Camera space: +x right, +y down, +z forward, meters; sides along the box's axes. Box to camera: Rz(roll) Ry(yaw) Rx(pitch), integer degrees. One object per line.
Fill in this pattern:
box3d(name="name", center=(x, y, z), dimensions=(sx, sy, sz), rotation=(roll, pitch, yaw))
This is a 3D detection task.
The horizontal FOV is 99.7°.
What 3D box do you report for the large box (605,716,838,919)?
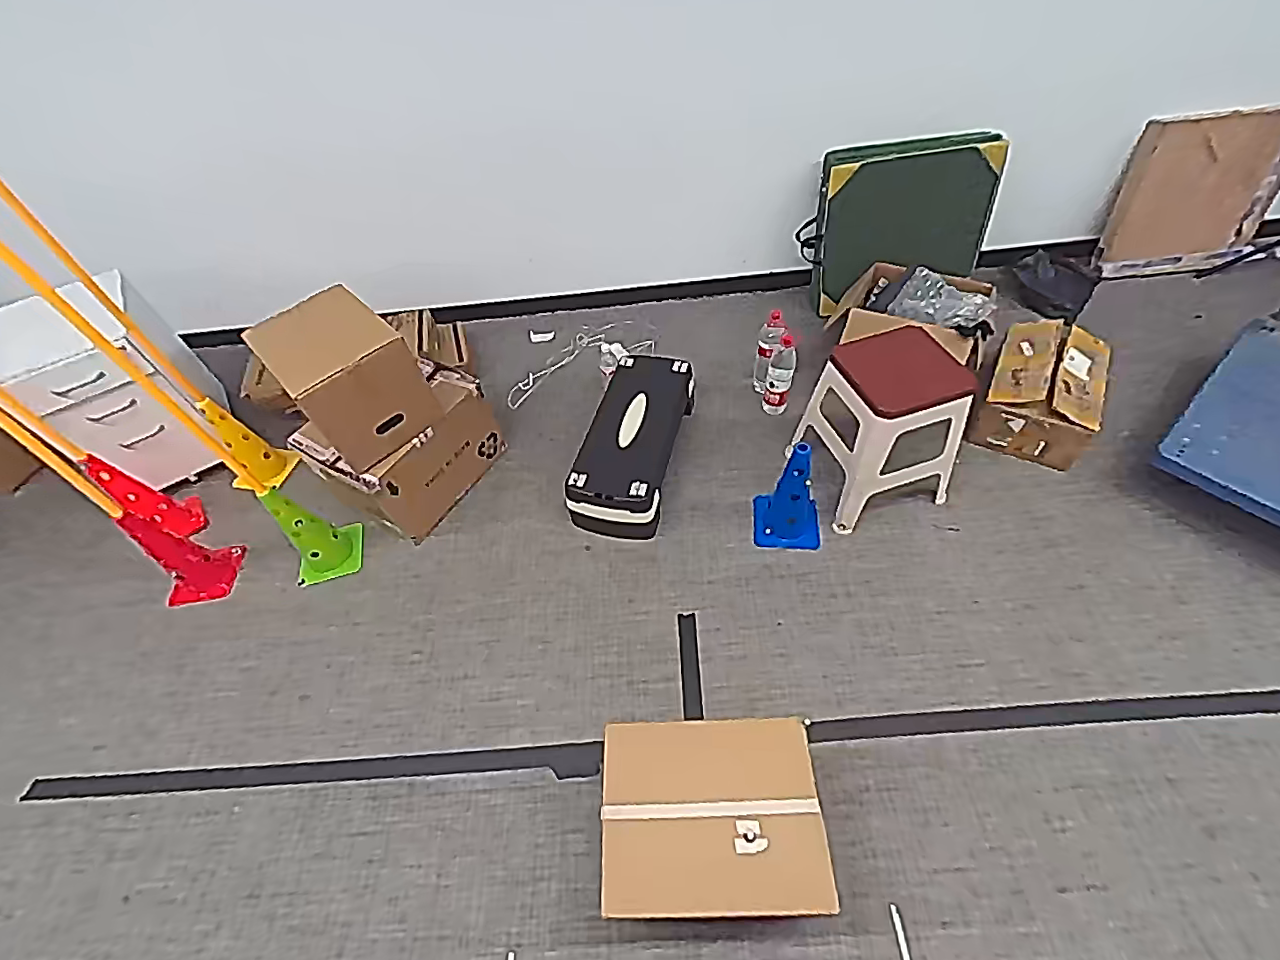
box3d(name="large box", center=(0.142, 0.705, 1.123), dimensions=(0.408, 0.320, 0.320), rotation=(-3, 52, 2))
